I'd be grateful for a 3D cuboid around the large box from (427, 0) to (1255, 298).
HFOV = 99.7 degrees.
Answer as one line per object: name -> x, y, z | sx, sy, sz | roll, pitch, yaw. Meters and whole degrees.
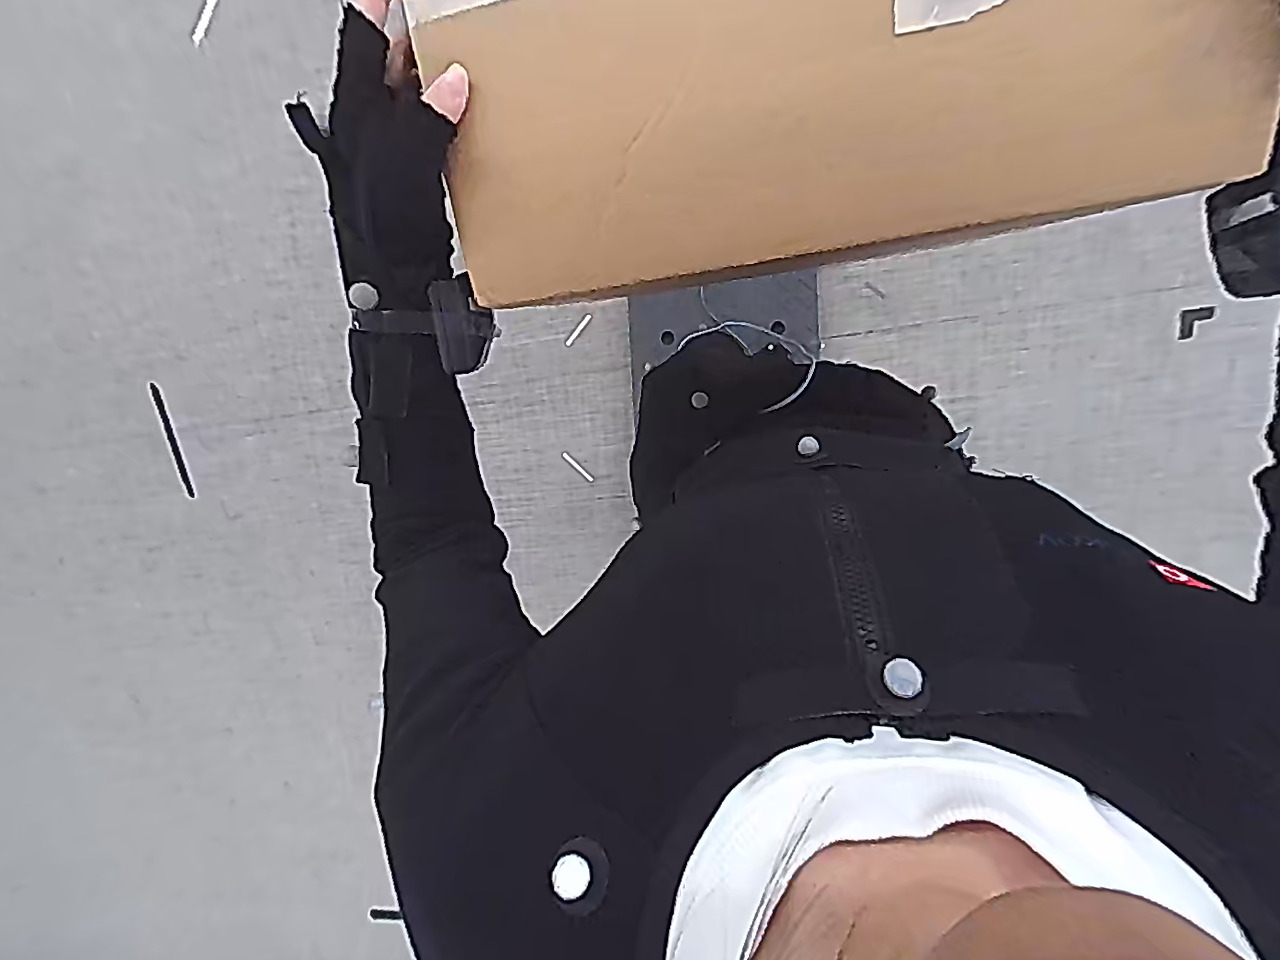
large box -> 0.095, -0.329, 0.401 | 0.408, 0.320, 0.320 | -6, 108, 11
